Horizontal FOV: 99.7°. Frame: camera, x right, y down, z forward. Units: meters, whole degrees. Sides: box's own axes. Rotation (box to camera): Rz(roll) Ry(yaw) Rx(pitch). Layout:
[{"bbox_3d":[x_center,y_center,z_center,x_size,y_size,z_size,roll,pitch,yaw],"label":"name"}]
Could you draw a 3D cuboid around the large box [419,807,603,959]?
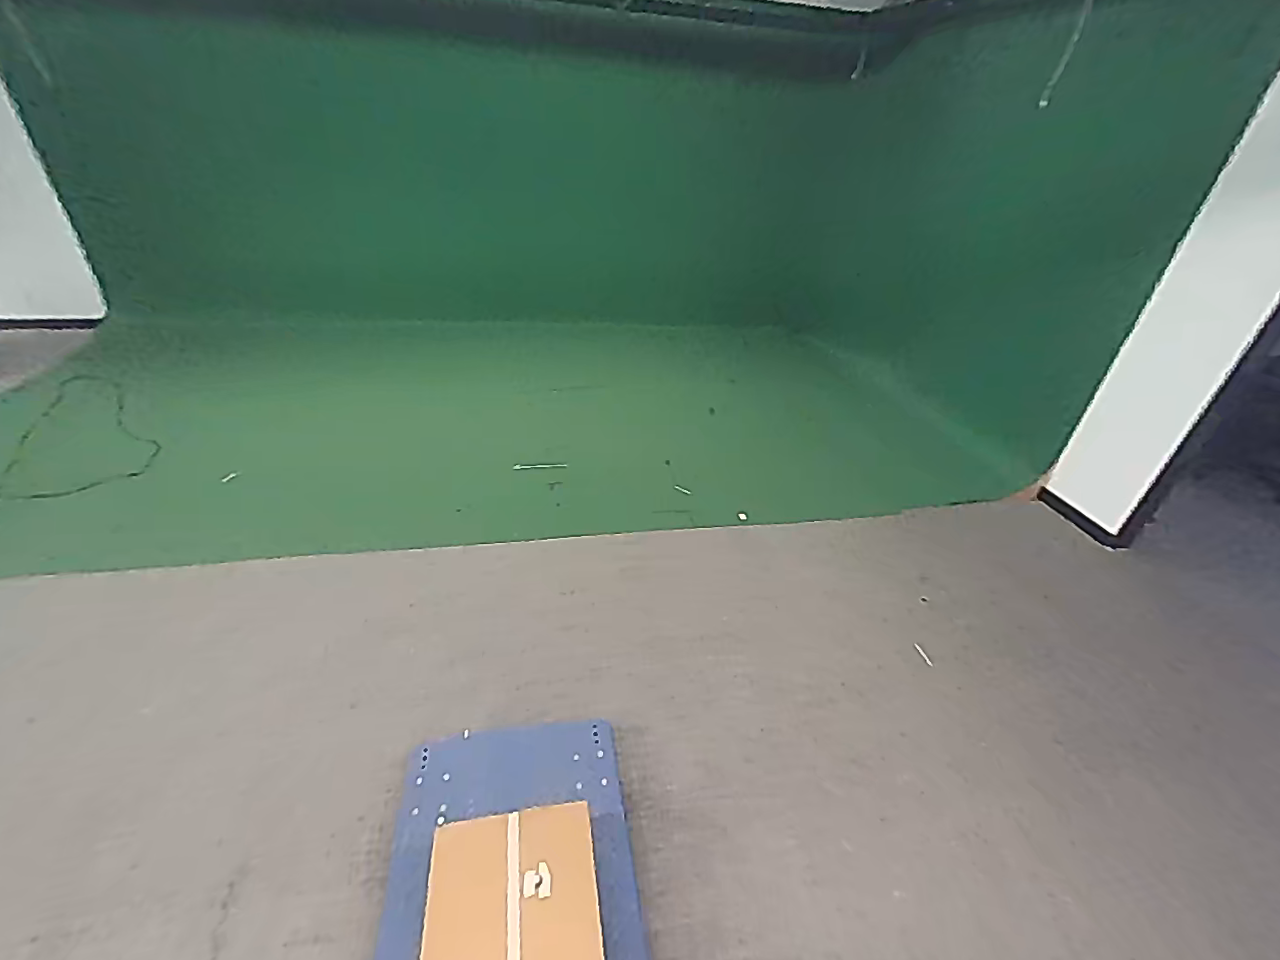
[{"bbox_3d":[-0.239,0.939,1.040,0.320,0.320,0.408,-2,33,-12],"label":"large box"}]
